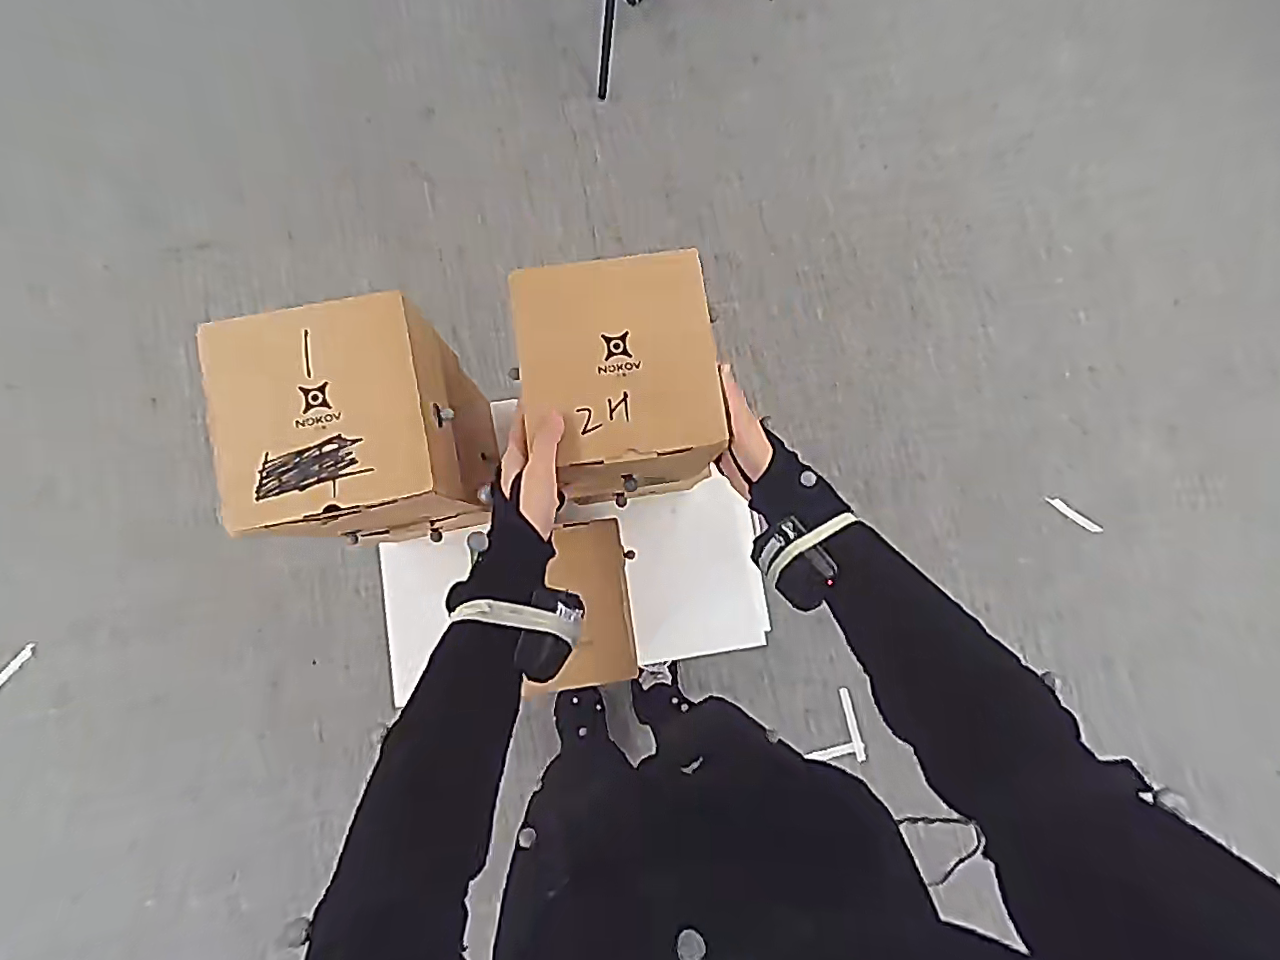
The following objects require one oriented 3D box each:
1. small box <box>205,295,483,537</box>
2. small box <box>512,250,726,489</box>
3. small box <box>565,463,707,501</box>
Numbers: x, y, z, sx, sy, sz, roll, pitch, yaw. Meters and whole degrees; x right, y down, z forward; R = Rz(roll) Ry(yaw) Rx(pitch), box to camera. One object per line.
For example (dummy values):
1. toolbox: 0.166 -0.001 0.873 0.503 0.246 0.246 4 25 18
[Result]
1. small box: -0.261 -0.047 0.516 0.168 0.176 0.179 -12 84 -4
2. small box: -0.021 -0.094 0.532 0.168 0.176 0.179 -8 84 -1
3. small box: -0.014 -0.069 0.696 0.168 0.176 0.179 -8 83 -2
